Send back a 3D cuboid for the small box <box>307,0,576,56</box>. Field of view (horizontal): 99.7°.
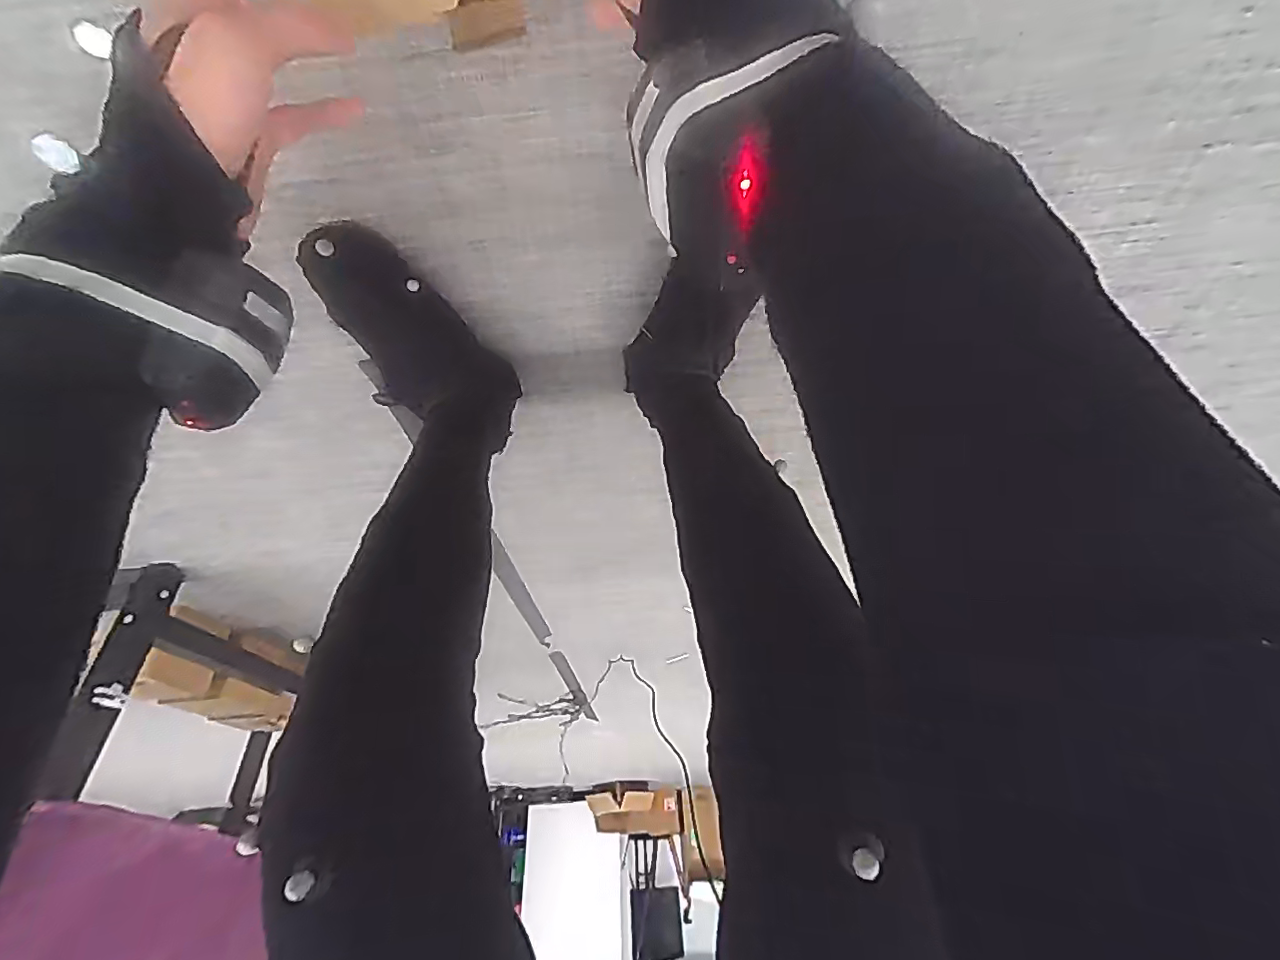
[{"bbox_3d":[-0.108,-0.362,0.271,0.168,0.176,0.179,-8,145,7],"label":"small box"}]
